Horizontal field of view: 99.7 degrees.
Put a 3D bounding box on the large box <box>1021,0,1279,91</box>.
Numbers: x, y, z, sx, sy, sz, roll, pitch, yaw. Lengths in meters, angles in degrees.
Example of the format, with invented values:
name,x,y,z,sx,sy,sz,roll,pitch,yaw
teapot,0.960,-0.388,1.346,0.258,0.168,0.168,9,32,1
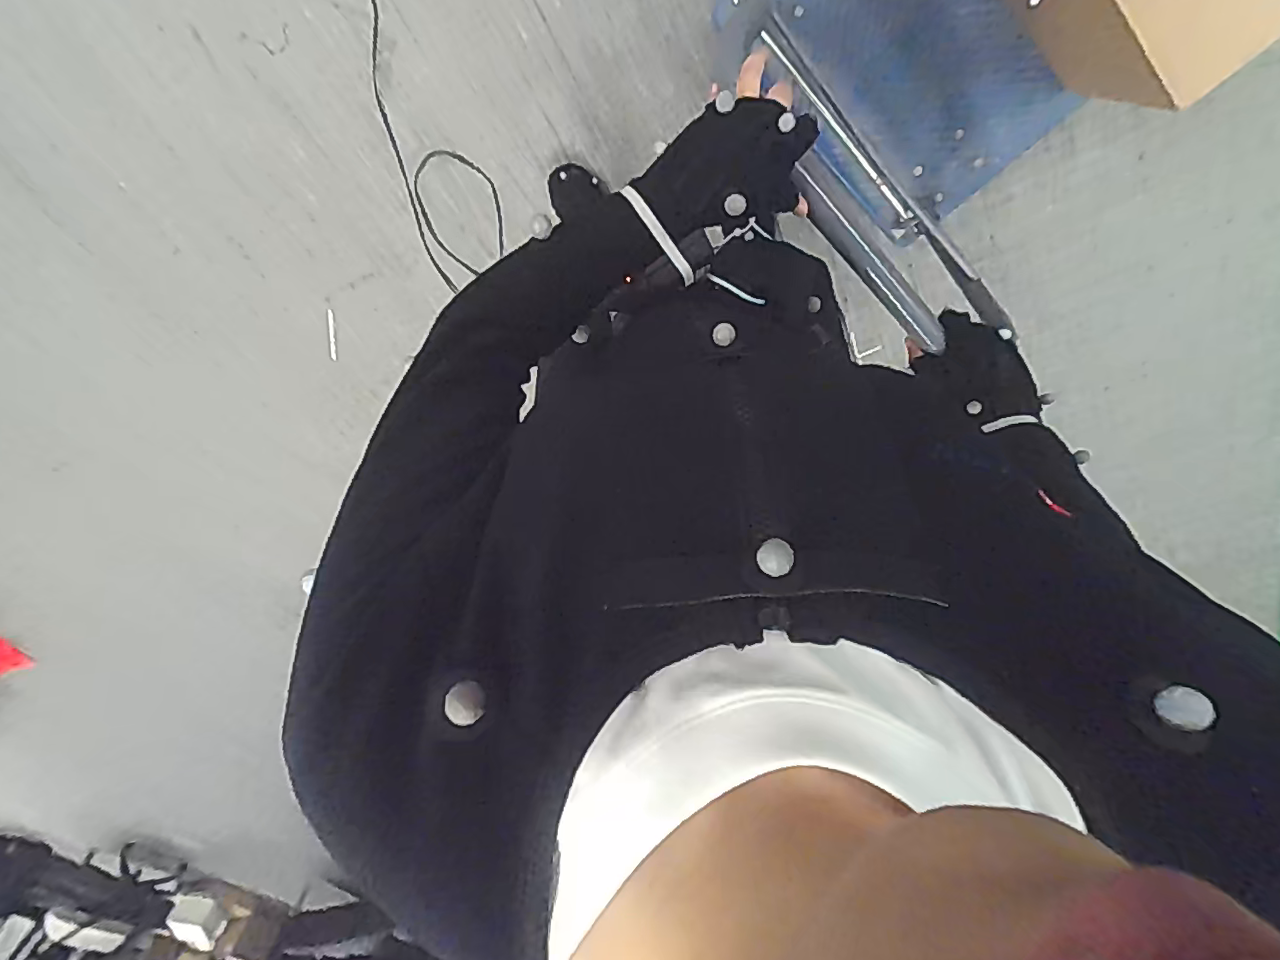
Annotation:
name,x,y,z,sx,sy,sz,roll,pitch,yaw
large box,0.658,-0.787,0.671,0.408,0.320,0.320,35,127,-18
